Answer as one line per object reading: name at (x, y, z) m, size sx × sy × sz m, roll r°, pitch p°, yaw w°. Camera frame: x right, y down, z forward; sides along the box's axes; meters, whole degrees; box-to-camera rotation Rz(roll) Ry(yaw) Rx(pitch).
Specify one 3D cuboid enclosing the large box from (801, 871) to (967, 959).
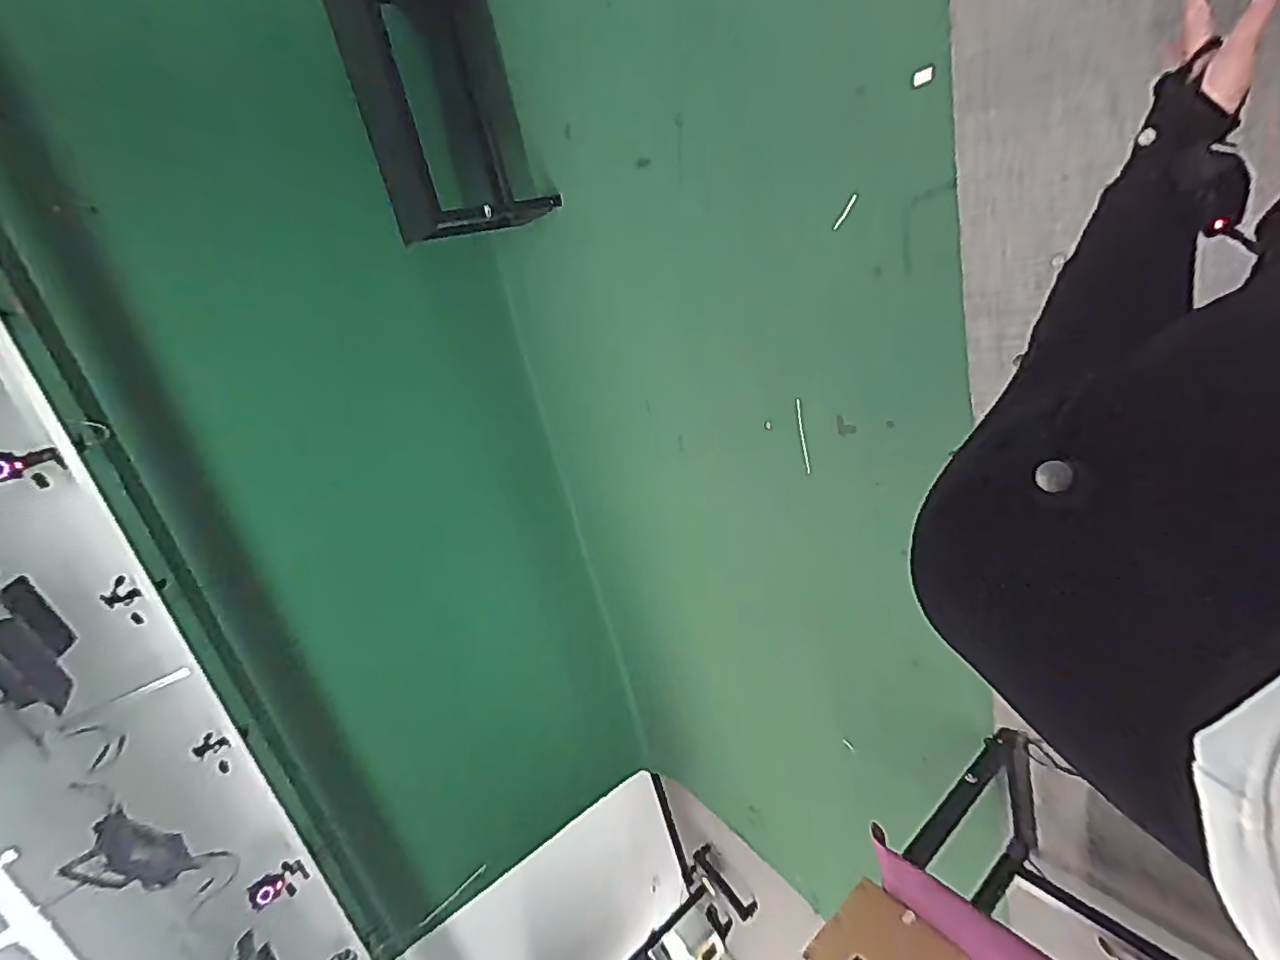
large box at (0.705, 1.451, 1.528) m, size 0.320 × 0.320 × 0.408 m, roll 11°, pitch 120°, yaw 53°
